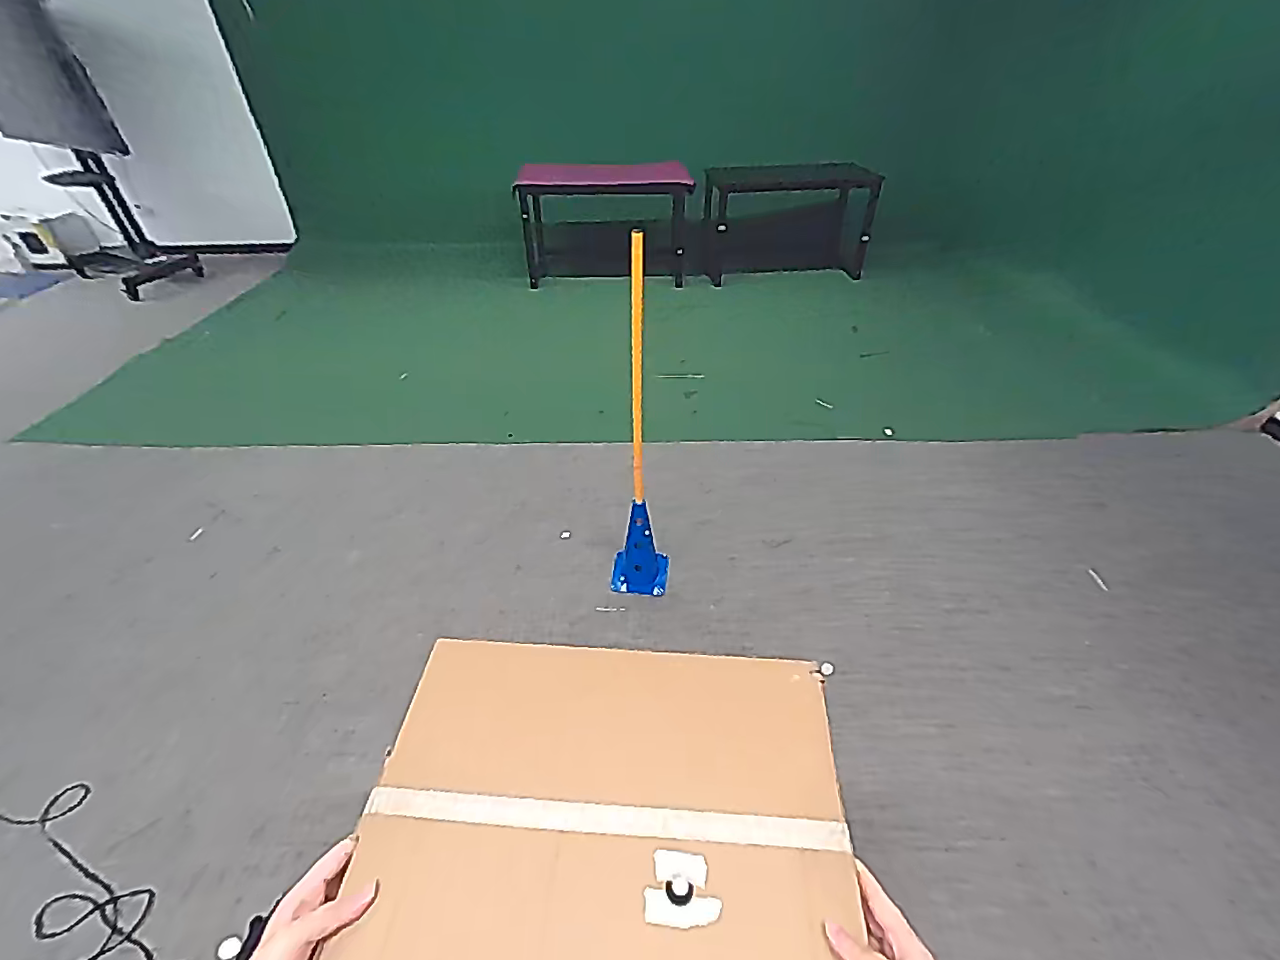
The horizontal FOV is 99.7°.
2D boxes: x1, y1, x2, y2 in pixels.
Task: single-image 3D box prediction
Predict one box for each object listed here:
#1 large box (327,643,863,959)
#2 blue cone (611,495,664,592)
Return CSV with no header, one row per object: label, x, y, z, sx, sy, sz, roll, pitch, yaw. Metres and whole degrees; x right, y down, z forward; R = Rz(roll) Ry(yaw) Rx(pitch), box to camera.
large box,-0.028,0.397,0.570,0.408,0.320,0.320,3,44,3
blue cone,-0.007,0.212,1.911,0.193,0.380,0.192,5,39,7
